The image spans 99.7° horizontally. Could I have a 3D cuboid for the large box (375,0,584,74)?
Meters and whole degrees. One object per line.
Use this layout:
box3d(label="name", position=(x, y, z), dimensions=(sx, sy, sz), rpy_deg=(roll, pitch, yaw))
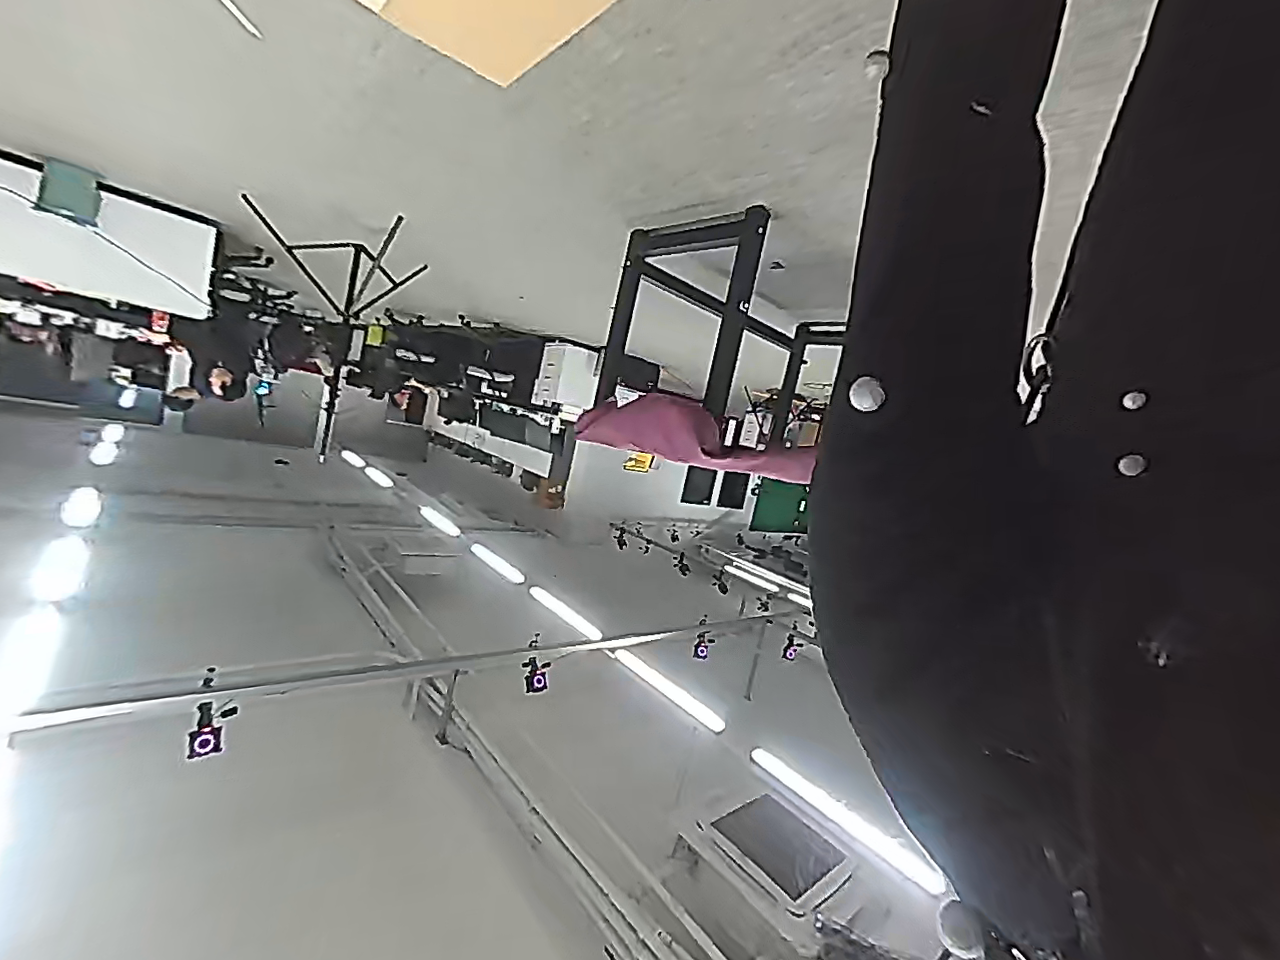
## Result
box3d(label="large box", position=(-0.128, -0.597, 0.373), dimensions=(0.320, 0.320, 0.408), rpy_deg=(6, -172, -39))
